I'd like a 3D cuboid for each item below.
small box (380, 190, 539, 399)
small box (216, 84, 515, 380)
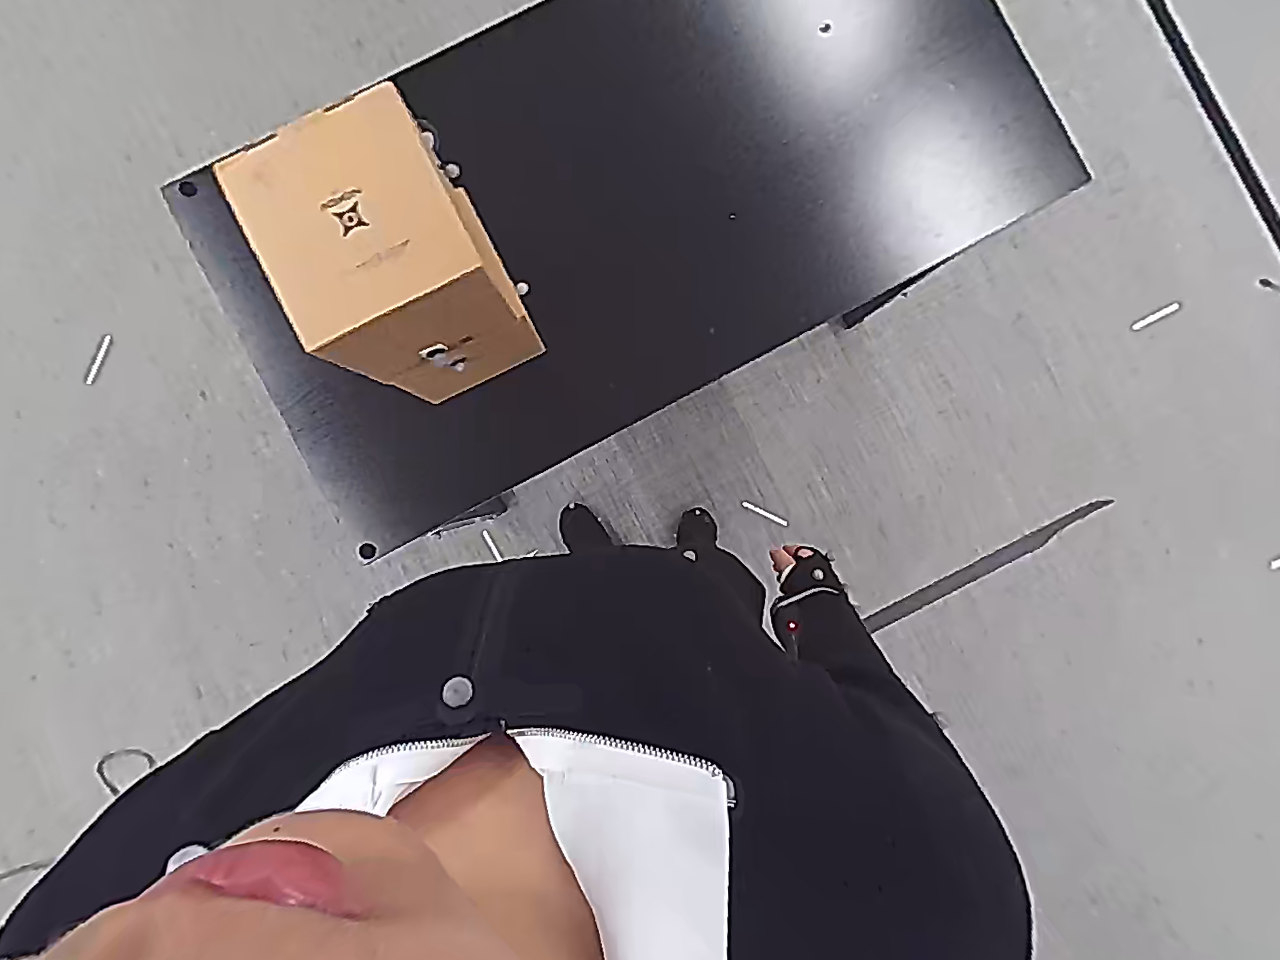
[{"bbox_3d":[-0.249,-0.220,0.693,0.179,0.176,0.168,-27,90,-3],"label":"small box"},{"bbox_3d":[-0.245,-0.221,0.531,0.168,0.176,0.179,-28,91,-1],"label":"small box"}]
